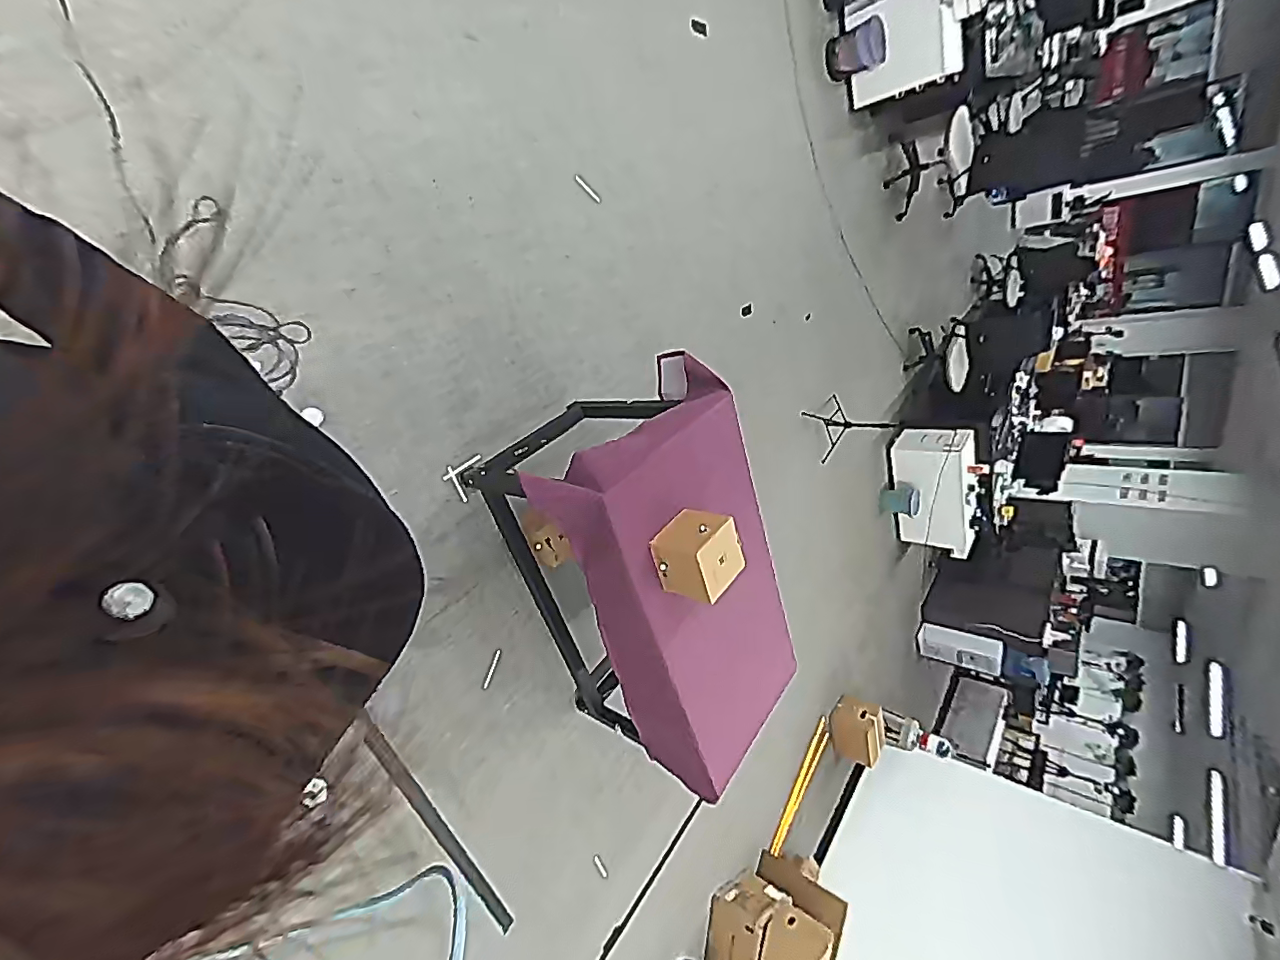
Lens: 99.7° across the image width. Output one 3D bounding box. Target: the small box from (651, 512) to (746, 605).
[{"bbox_3d":[0.157,0.203,1.456,0.179,0.176,0.168,-38,121,-37],"label":"small box"}]
